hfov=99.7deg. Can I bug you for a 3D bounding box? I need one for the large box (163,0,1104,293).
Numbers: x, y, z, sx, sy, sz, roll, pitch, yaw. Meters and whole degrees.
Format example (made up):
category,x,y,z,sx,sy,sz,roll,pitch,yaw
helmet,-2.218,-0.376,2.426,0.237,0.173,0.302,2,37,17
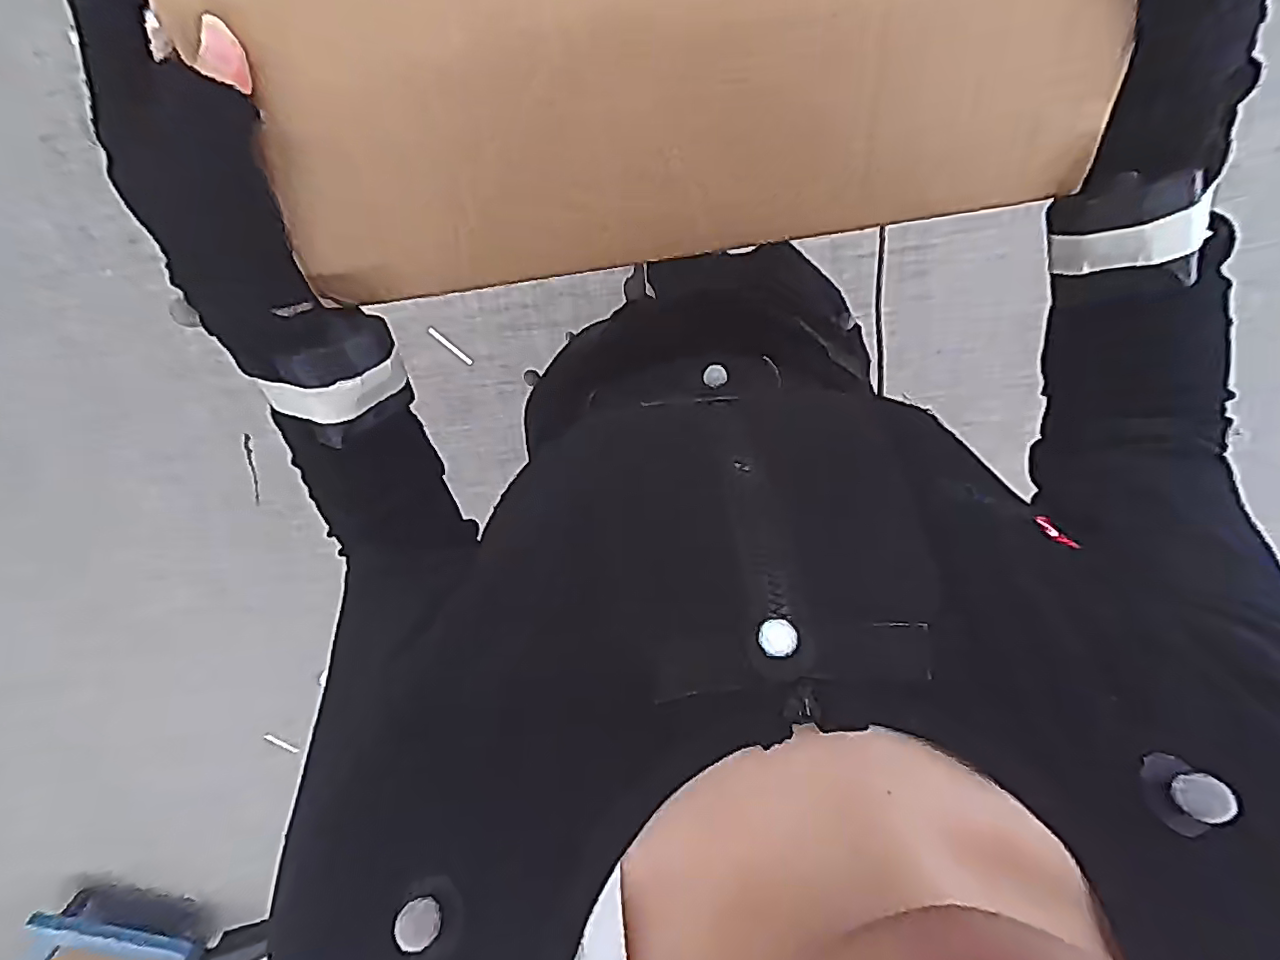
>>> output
category,x,y,z,sx,sy,sz,roll,pitch,yaw
large box,-0.008,-0.344,0.301,0.408,0.320,0.320,-8,132,2
